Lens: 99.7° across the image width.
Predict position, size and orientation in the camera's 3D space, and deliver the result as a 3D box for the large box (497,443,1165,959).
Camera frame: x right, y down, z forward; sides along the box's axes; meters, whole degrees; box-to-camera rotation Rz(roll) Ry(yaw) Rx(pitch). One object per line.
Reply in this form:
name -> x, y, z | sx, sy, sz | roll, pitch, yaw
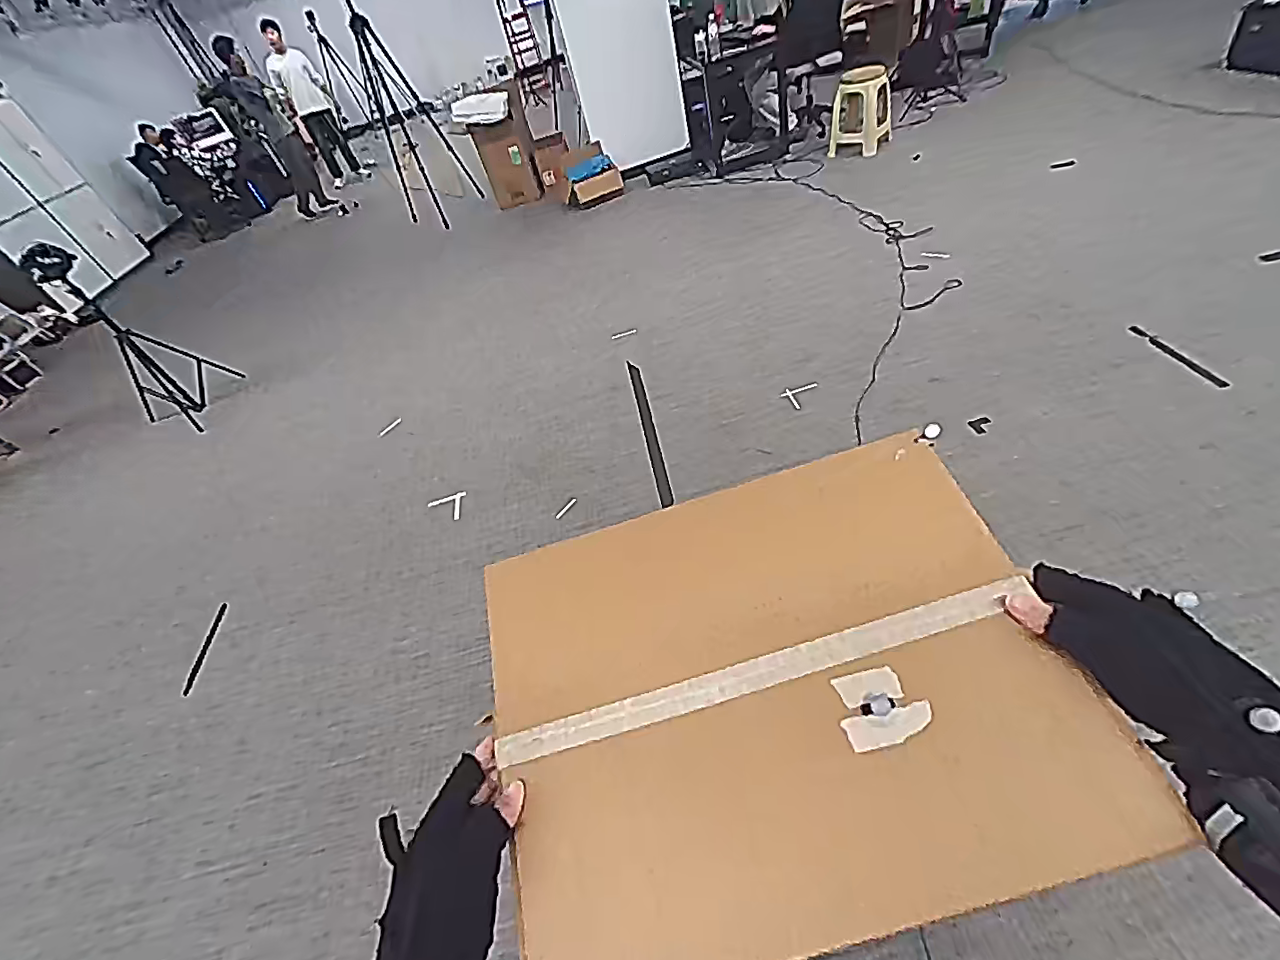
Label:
large box -> 0.120, 0.228, 0.532 | 0.408, 0.320, 0.320 | -18, 57, 1
